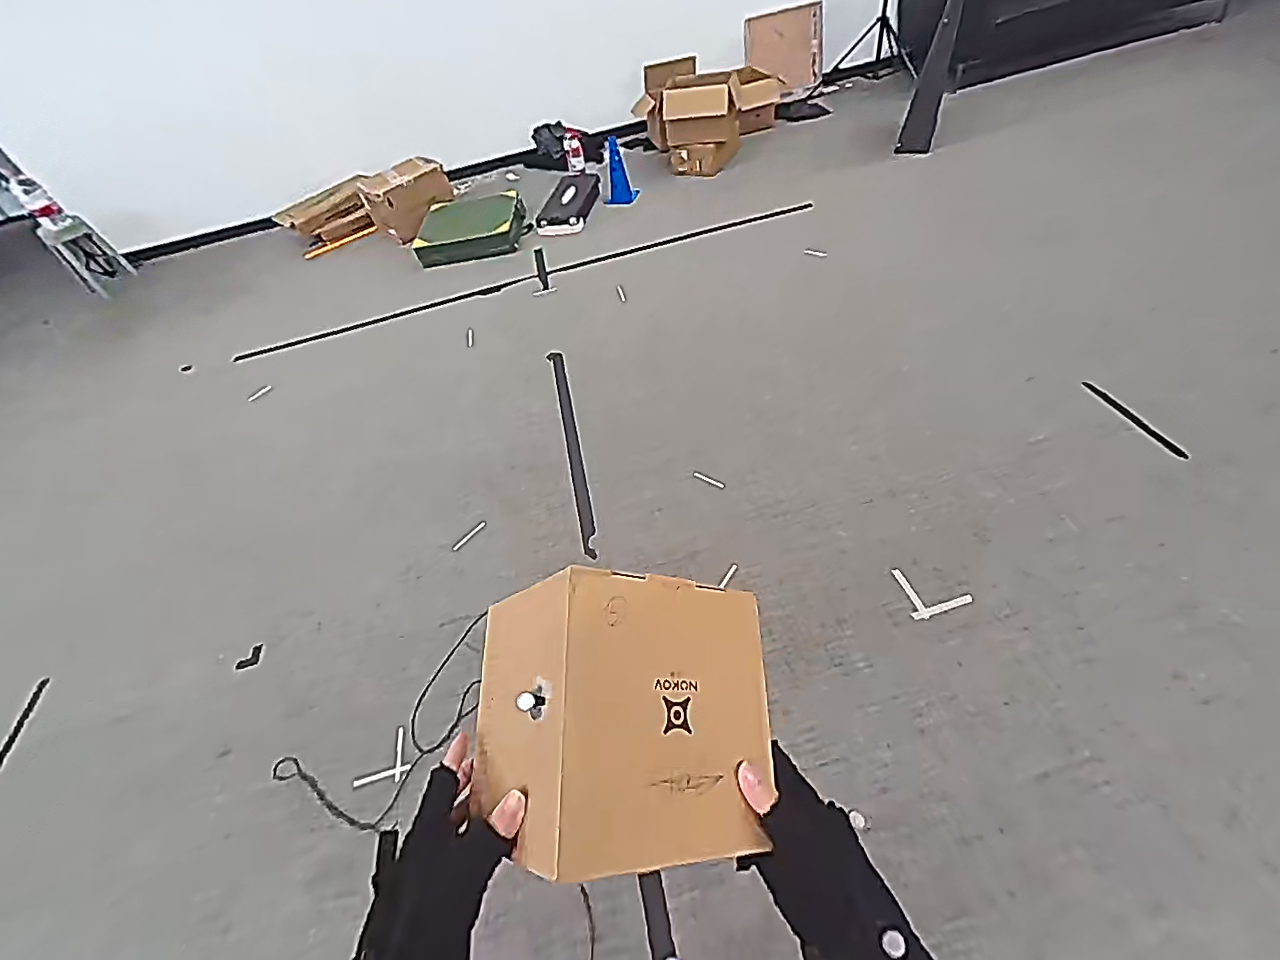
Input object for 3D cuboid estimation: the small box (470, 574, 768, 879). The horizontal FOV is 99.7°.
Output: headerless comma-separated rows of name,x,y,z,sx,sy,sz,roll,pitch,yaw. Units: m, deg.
small box,-0.024,0.189,0.431,0.168,0.176,0.179,15,61,-29
